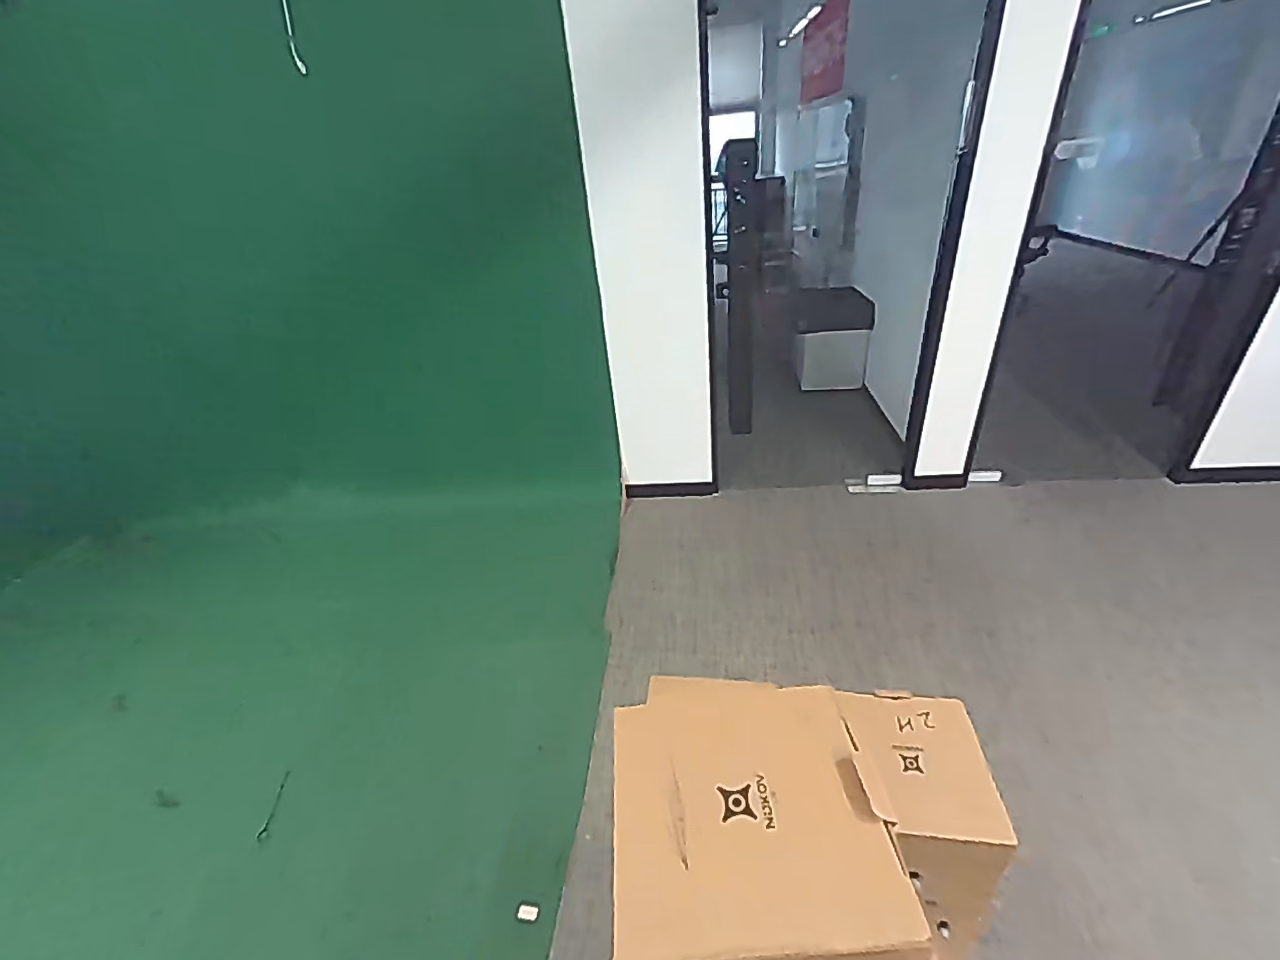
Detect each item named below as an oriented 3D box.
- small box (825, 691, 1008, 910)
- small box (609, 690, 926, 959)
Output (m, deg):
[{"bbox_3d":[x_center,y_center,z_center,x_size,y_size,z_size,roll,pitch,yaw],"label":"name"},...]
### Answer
[{"bbox_3d":[0.318,0.395,0.675,0.168,0.176,0.179,1,31,10],"label":"small box"},{"bbox_3d":[0.077,0.286,0.400,0.179,0.176,0.168,-8,31,2],"label":"small box"}]
